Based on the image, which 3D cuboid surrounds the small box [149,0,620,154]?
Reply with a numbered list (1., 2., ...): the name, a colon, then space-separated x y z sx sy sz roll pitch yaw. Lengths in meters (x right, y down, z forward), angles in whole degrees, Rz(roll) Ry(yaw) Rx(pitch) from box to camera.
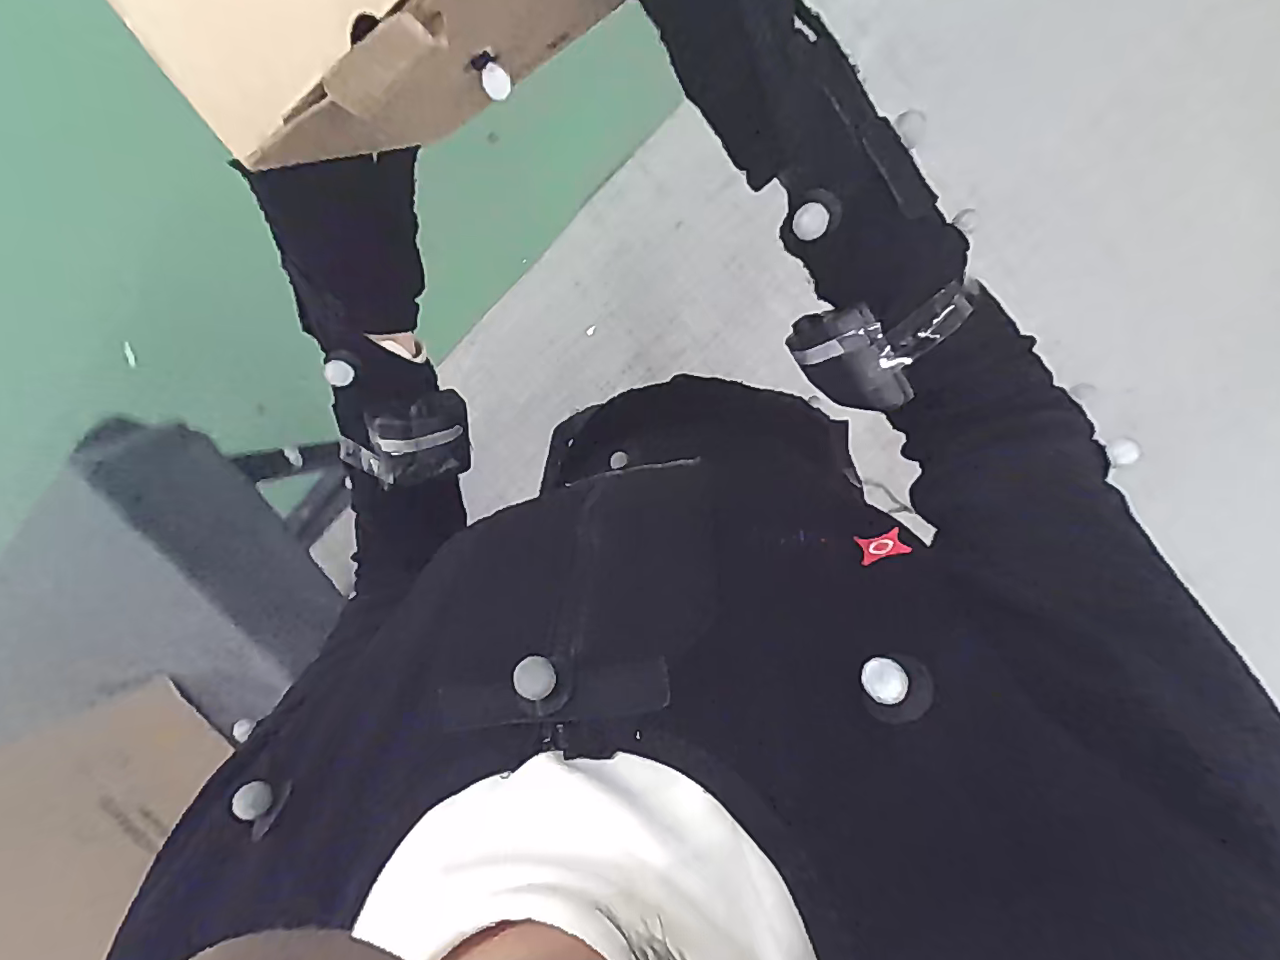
1. small box: -0.107 -0.269 0.217 0.168 0.176 0.179 -17 120 23
